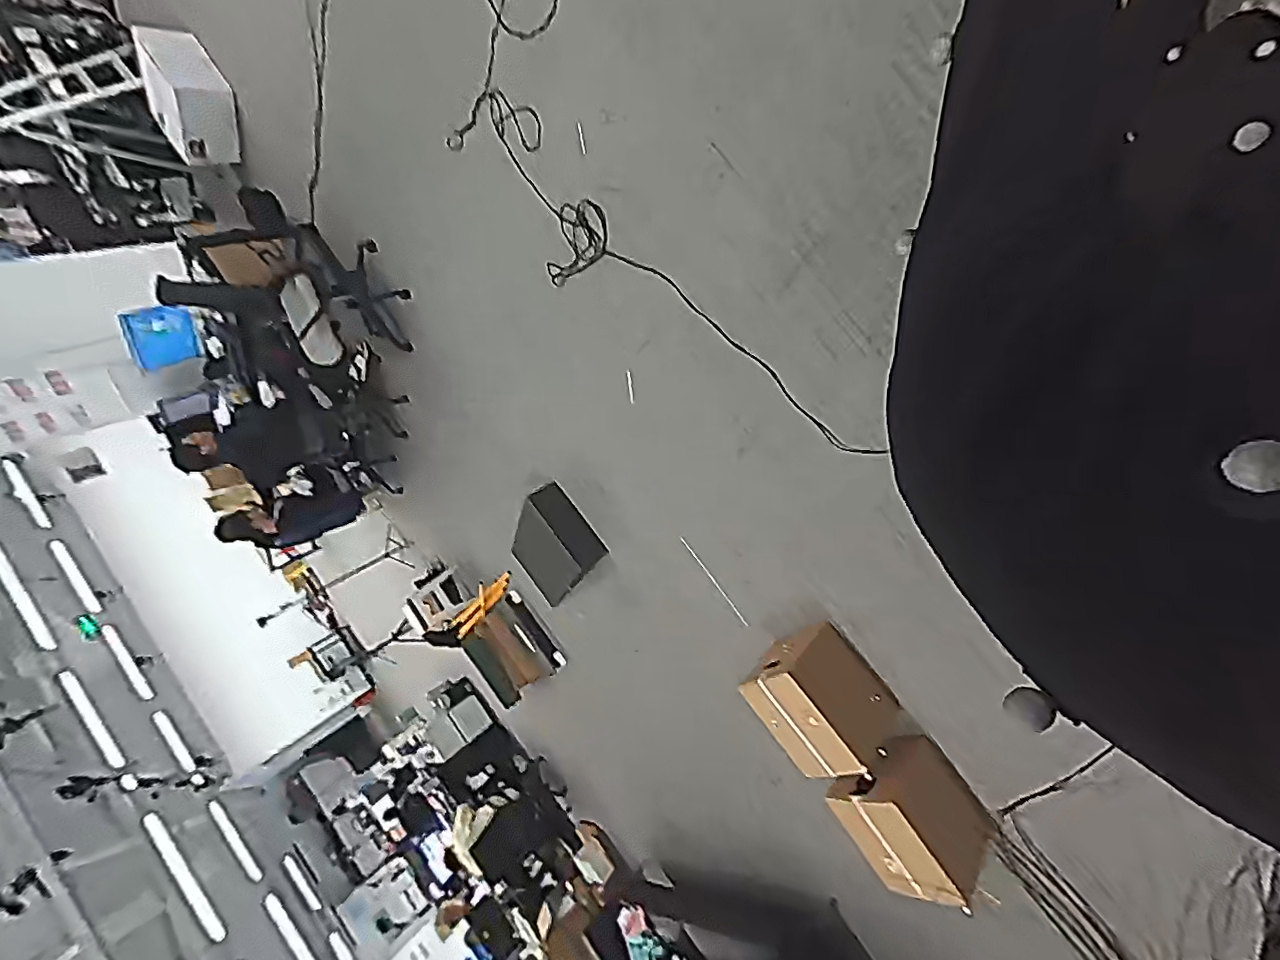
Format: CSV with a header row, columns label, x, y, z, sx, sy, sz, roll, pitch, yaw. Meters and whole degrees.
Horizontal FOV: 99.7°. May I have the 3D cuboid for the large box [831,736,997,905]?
label,x,y,z,sx,sy,sz,roll,pitch,yaw
large box,0.982,1.197,1.944,0.408,0.320,0.320,53,142,3
